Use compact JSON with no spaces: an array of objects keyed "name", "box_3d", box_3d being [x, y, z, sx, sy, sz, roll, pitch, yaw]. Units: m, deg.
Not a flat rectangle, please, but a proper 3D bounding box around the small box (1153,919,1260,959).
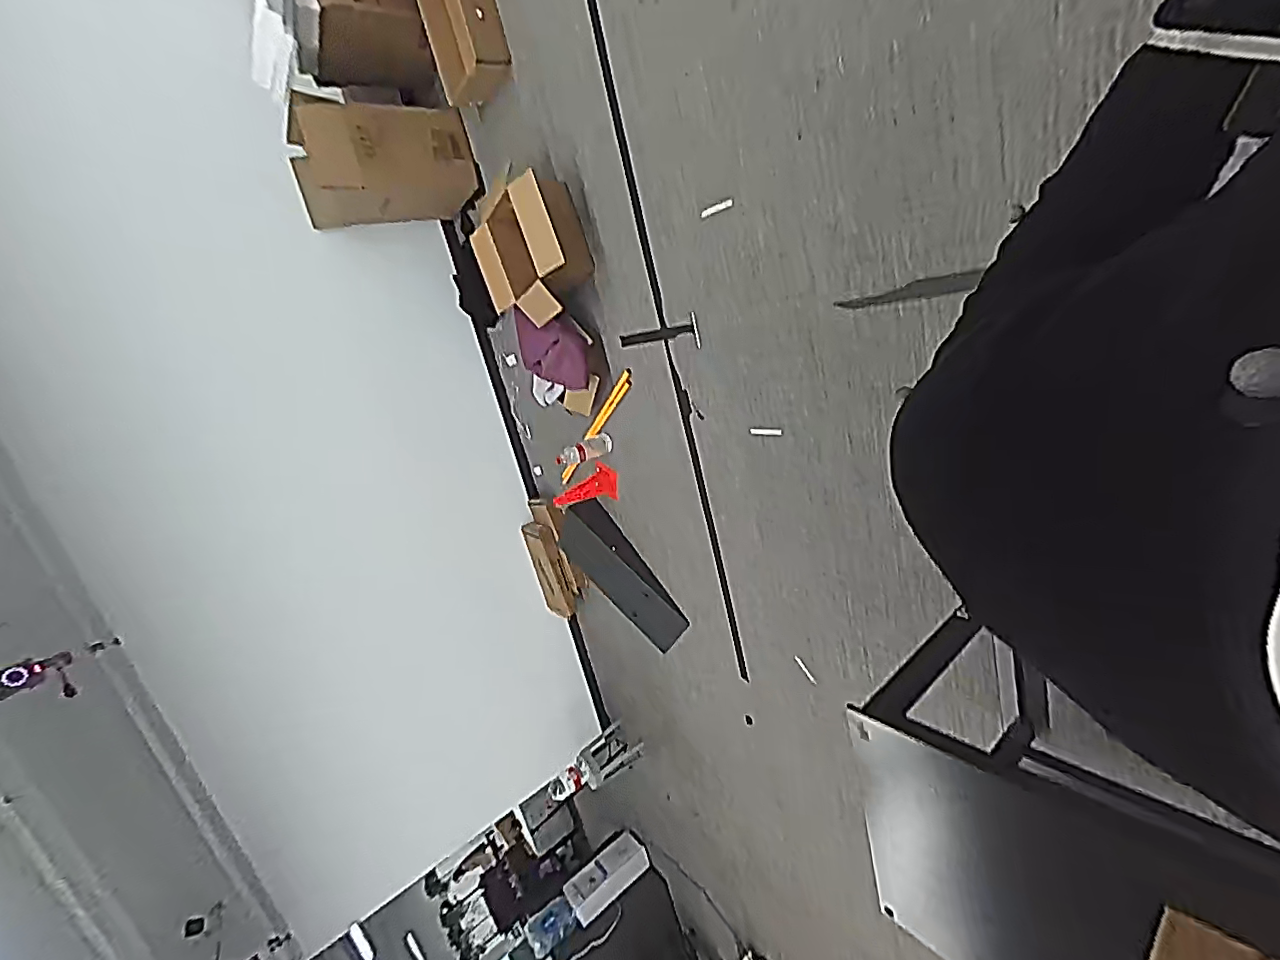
[{"name":"small box","box_3d":[0.750,0.708,0.664,0.179,0.176,0.168,1,111,55]}]
